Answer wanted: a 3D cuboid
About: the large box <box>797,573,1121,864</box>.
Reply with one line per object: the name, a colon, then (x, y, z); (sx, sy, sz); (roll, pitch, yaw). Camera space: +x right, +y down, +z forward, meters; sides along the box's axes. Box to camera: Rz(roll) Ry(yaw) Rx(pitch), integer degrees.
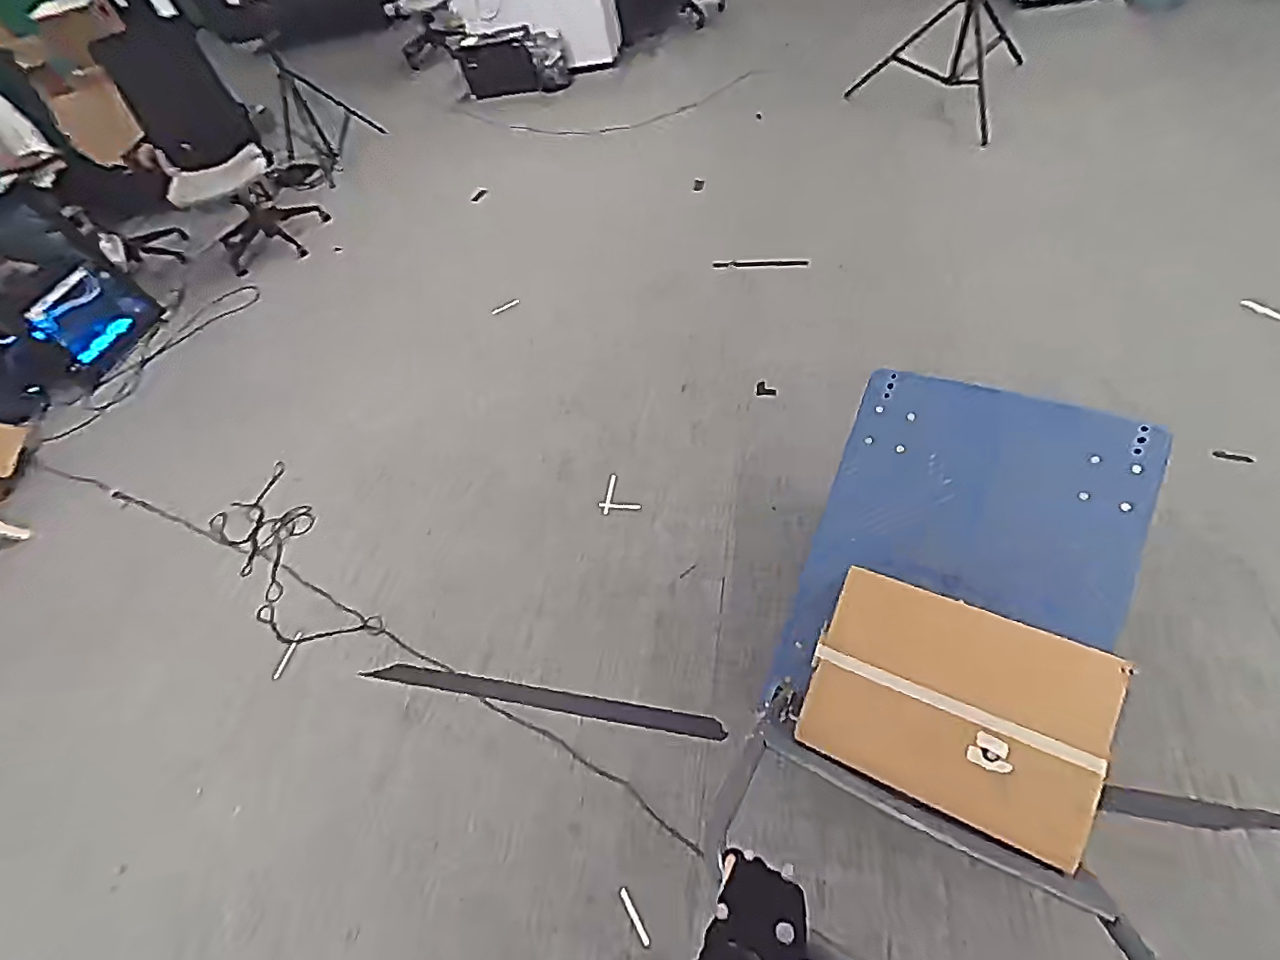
large box: (0.538, 0.390, 1.000); (0.408, 0.320, 0.320); (18, 85, 23)
